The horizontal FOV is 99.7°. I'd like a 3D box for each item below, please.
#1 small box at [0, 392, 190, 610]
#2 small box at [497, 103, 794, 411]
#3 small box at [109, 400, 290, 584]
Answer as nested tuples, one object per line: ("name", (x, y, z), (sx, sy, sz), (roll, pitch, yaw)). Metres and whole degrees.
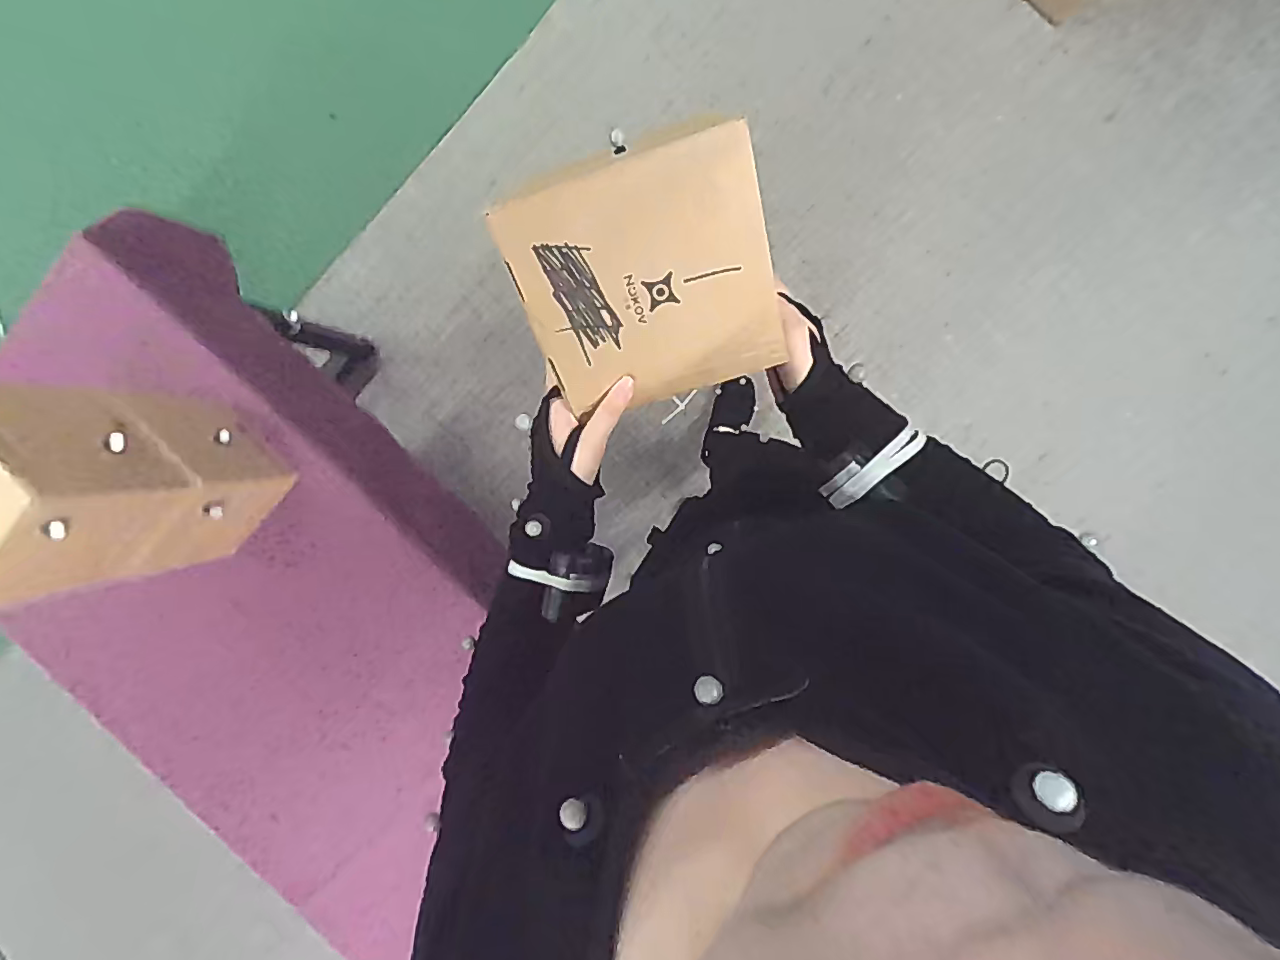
("small box", (-0.661, 0.024, 0.592), (0.168, 0.176, 0.179), (43, 96, 1))
("small box", (0.010, -0.184, 0.442), (0.179, 0.176, 0.168), (-15, 125, 8))
("small box", (-0.636, 0.010, 0.752), (0.168, 0.176, 0.179), (43, 97, 1))
